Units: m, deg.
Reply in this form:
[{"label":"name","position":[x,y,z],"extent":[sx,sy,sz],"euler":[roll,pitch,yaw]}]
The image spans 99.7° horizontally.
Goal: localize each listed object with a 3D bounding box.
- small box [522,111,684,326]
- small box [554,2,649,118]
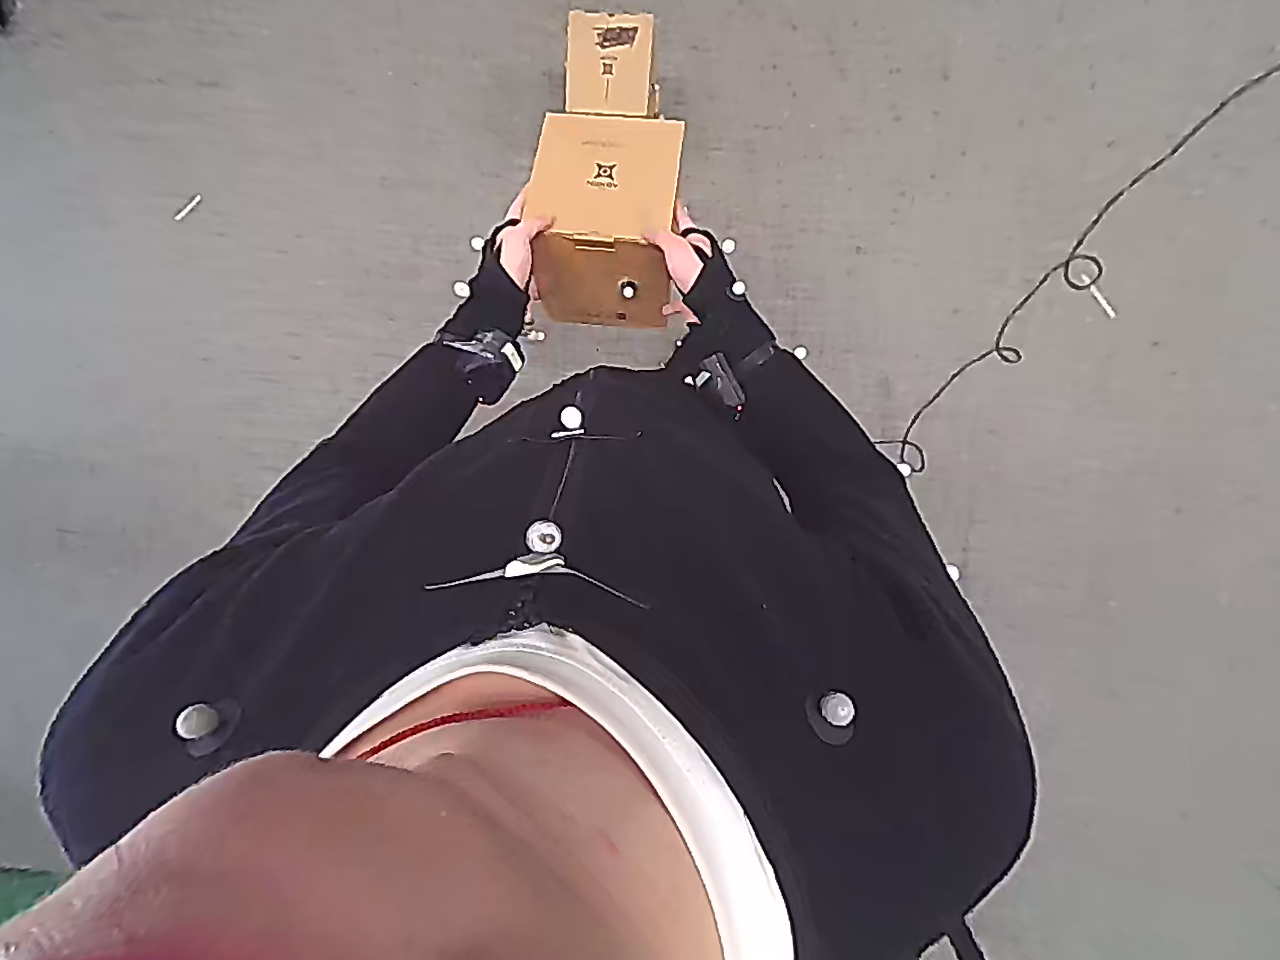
[{"label":"small box","position":[-0.038,-0.315,0.677],"extent":[0.168,0.176,0.179],"euler":[6,72,1]},{"label":"small box","position":[-0.073,-0.827,1.117],"extent":[0.168,0.176,0.179],"euler":[8,103,2]}]
